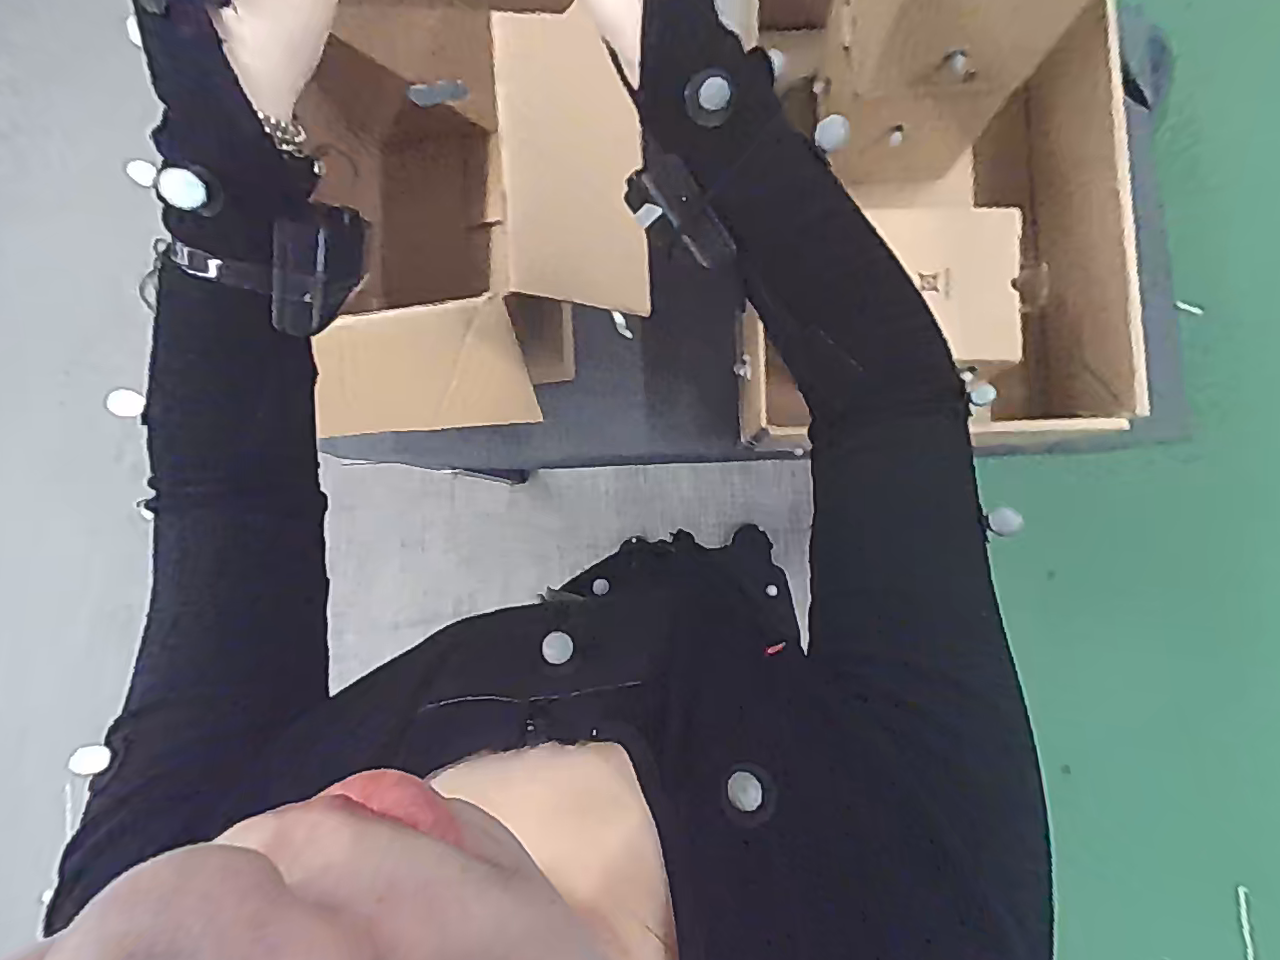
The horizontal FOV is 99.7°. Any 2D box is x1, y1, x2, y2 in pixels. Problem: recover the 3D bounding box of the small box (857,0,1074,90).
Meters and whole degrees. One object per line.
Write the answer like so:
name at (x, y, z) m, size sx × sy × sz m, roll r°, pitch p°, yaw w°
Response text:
small box at (0.308, -0.510, 0.500) m, size 0.168 × 0.176 × 0.179 m, roll -1°, pitch 88°, yaw 5°
